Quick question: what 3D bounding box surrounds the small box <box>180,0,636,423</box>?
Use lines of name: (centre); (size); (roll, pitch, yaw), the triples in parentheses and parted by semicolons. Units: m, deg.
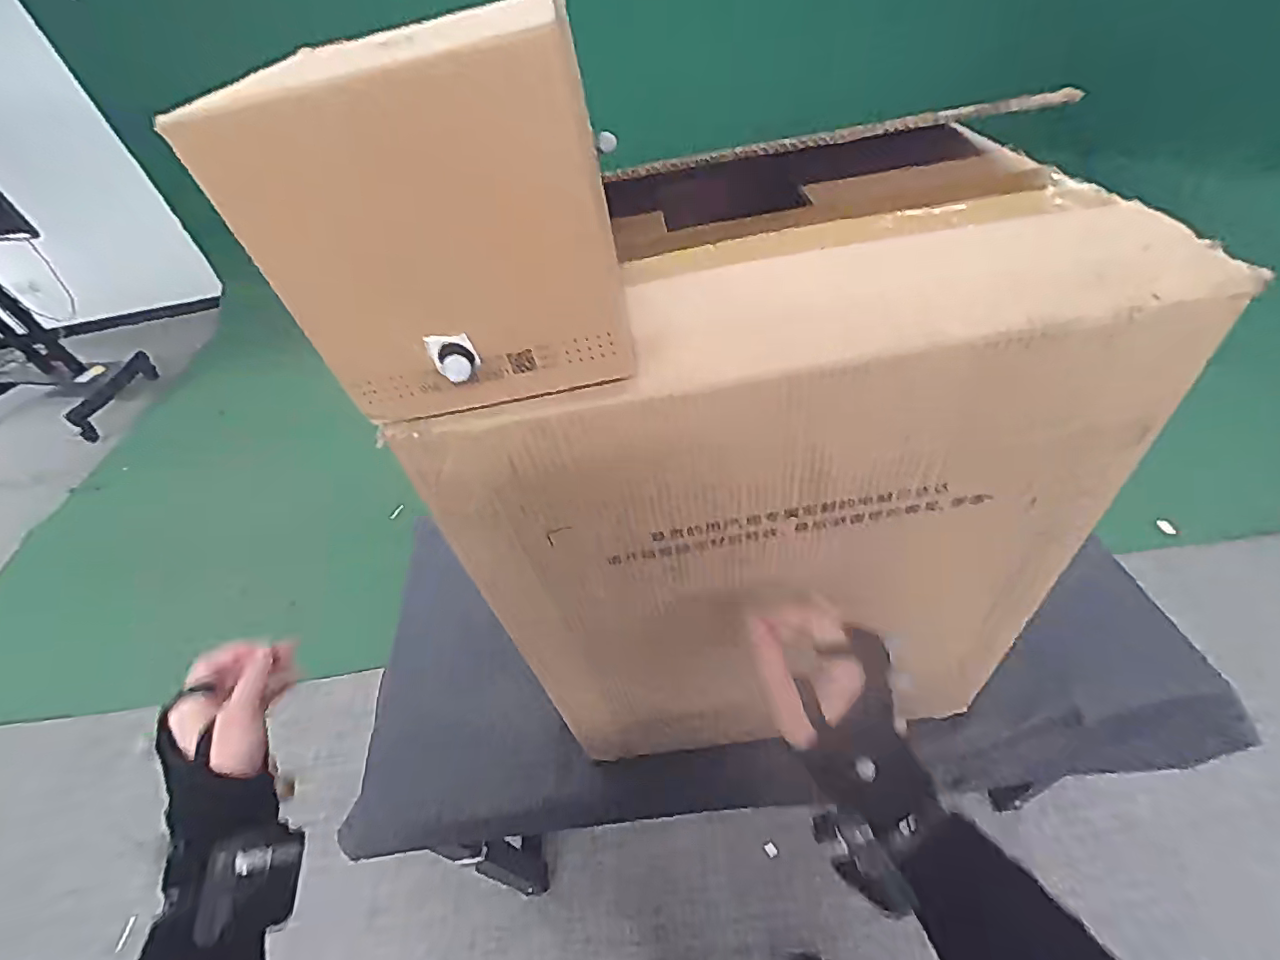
small box: (-0.104, -0.163, 0.330); (0.168, 0.176, 0.179); (-13, 47, 3)
